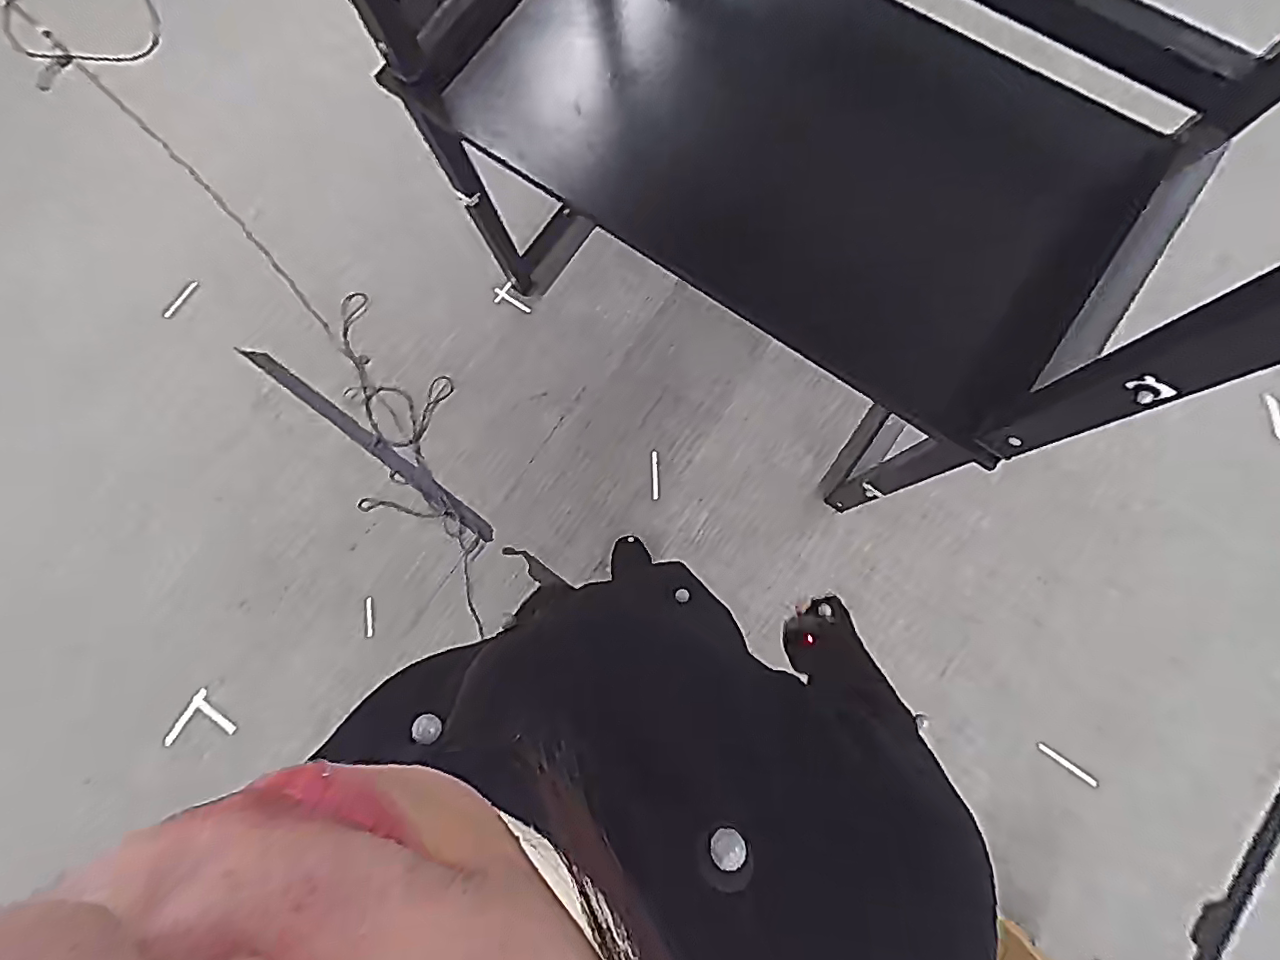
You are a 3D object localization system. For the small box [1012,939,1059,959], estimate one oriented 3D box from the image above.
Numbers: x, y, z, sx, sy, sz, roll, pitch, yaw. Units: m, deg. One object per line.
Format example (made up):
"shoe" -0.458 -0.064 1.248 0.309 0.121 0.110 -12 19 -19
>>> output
"small box" 0.825 1.067 1.046 0.168 0.176 0.179 32 85 8

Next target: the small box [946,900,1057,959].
"small box" 0.832 1.096 1.208 0.179 0.176 0.168 37 85 8
